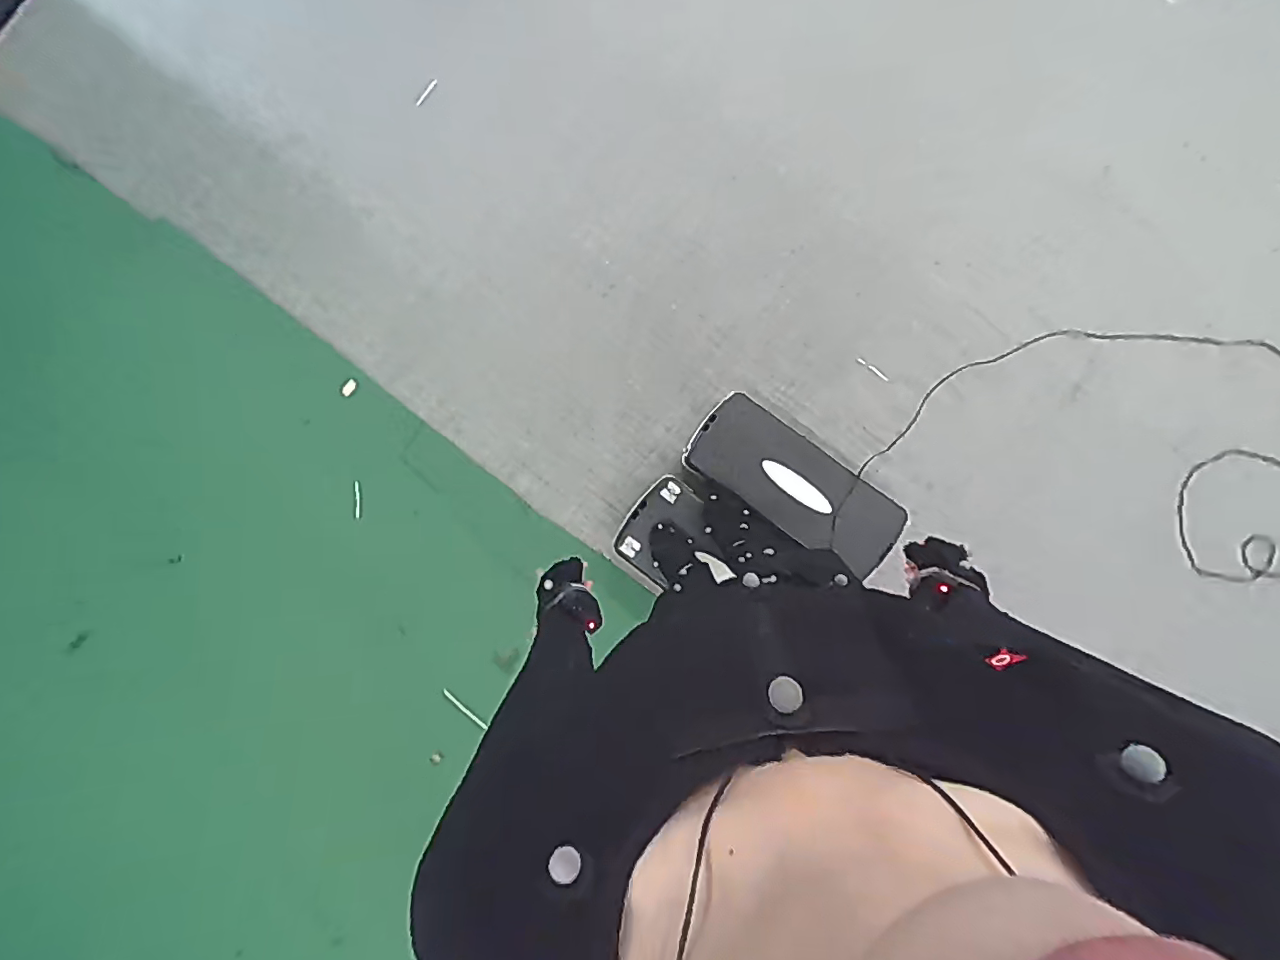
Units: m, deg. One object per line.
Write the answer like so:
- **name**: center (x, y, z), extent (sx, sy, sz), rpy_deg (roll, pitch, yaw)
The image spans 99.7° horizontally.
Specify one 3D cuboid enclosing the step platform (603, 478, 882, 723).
- **step platform**: center (0.243, 0.289, 1.383), extent (0.684, 0.204, 0.286), rpy_deg (37, 89, 3)
